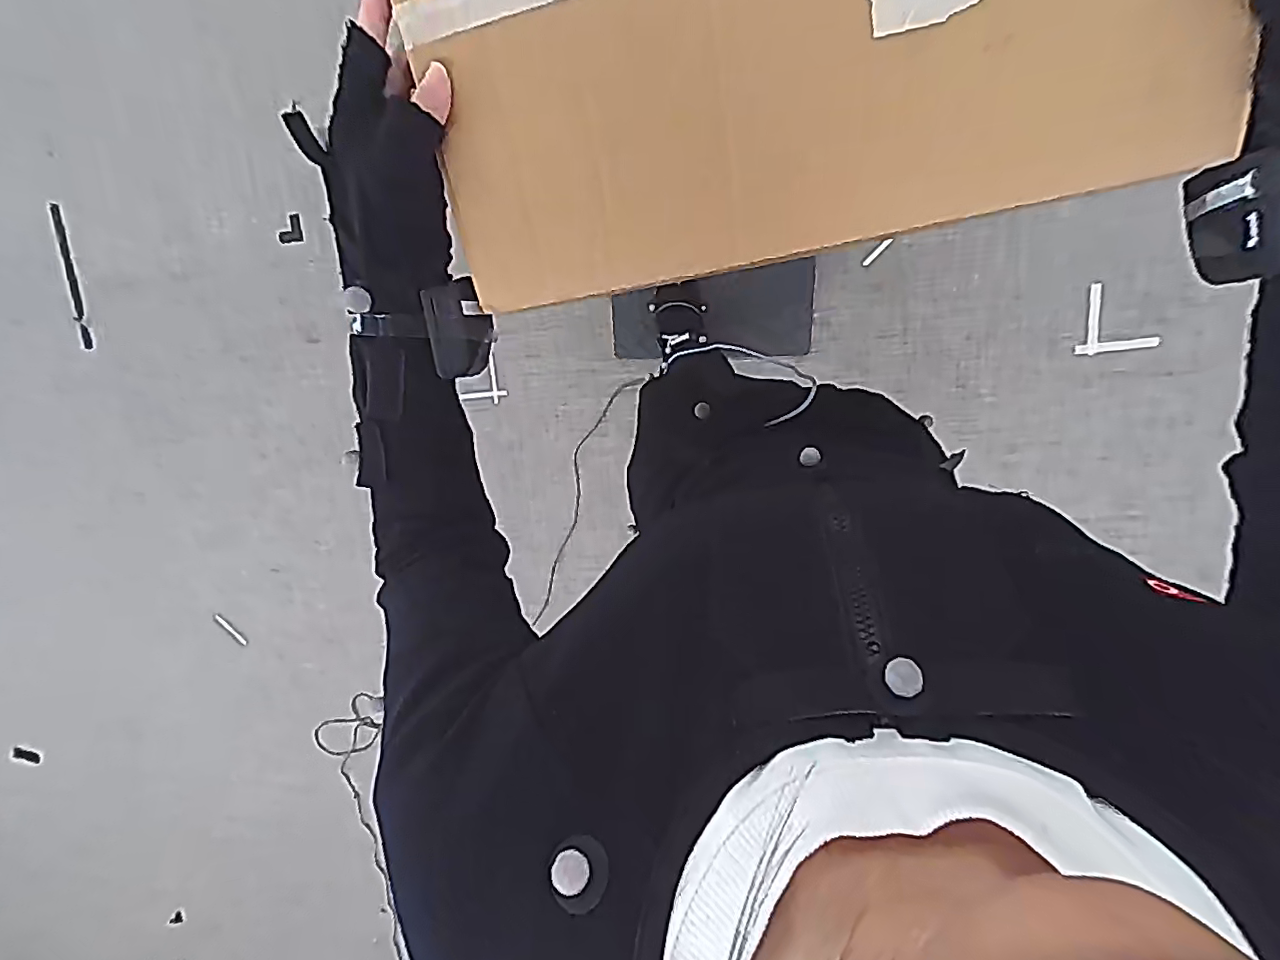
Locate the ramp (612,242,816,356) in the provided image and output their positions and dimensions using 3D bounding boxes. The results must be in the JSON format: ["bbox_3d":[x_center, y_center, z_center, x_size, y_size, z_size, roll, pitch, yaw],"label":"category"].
[{"bbox_3d":[0.155,-0.781,1.185,0.509,0.206,0.991,-2,103,7],"label":"ramp"}]

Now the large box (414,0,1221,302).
[{"bbox_3d":[0.085,-0.339,0.406,0.408,0.320,0.320,-8,110,12],"label":"large box"}]
